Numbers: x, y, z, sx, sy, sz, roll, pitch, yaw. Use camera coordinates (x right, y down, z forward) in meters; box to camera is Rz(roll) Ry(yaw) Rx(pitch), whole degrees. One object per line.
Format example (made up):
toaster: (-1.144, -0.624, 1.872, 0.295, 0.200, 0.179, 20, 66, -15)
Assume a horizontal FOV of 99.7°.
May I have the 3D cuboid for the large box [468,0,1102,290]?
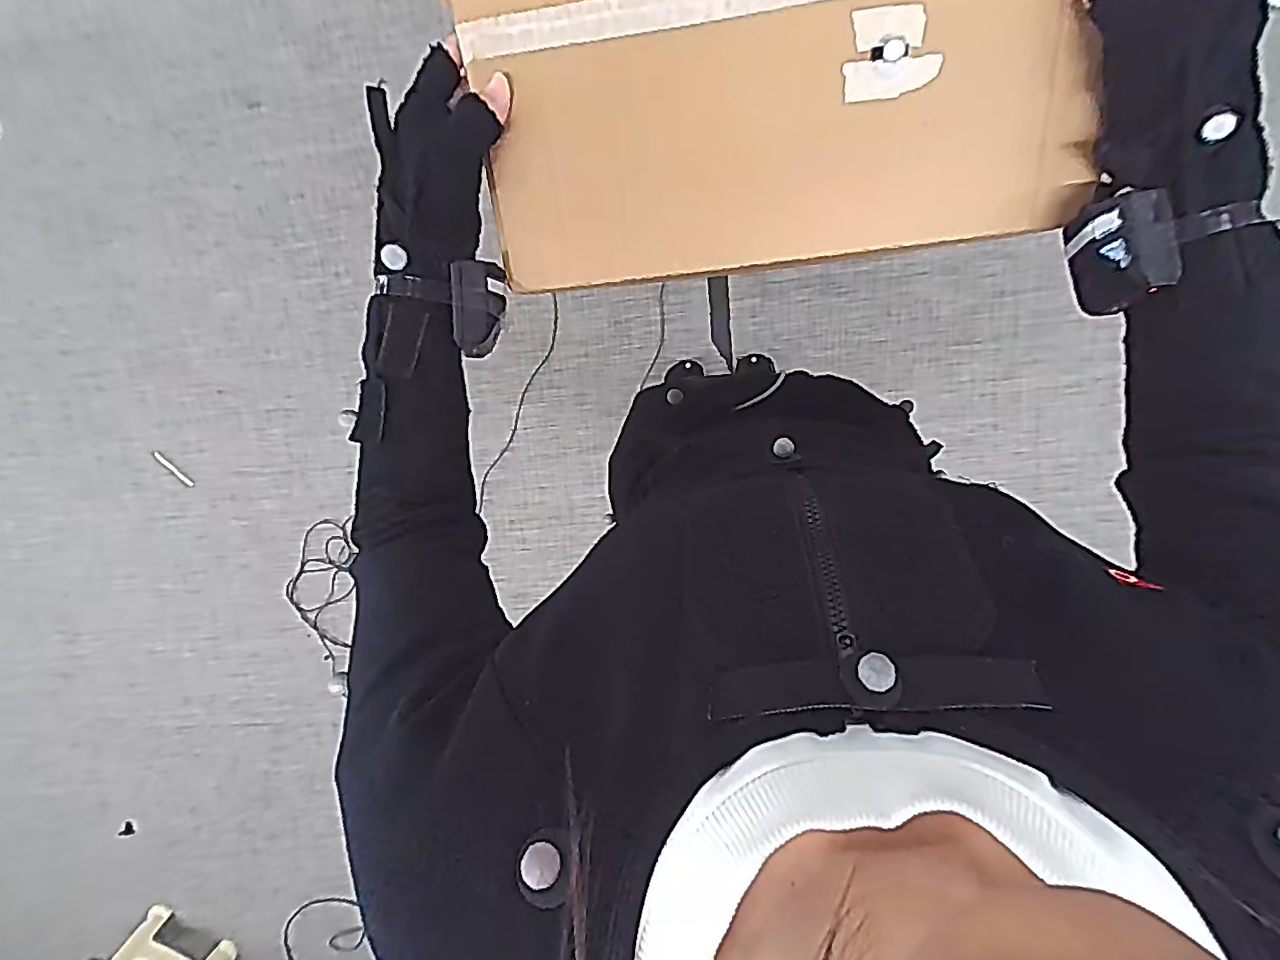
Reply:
large box: (0.094, -0.359, 0.486, 0.408, 0.320, 0.320, -5, 110, 6)
